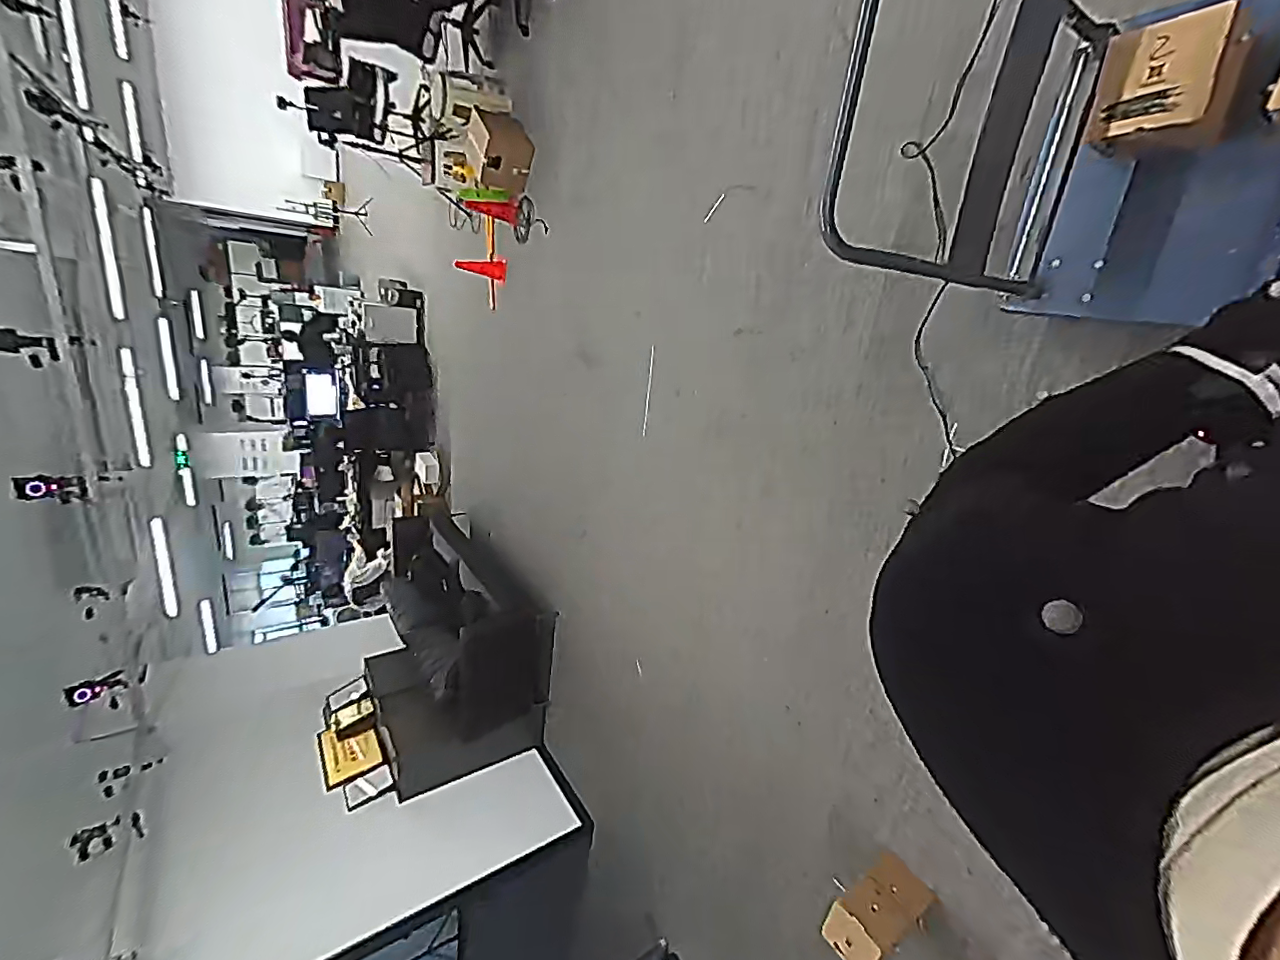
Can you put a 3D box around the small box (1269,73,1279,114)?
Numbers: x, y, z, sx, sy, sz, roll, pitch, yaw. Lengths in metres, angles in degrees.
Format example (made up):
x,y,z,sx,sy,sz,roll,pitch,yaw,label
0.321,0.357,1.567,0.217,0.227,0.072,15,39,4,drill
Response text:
x,y,z,sx,sy,sz,roll,pitch,yaw,label
1.111,-0.655,0.811,0.168,0.176,0.179,31,121,49,small box

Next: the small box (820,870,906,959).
x,y,z,sx,sy,sz,roll,pitch,yaw,label
0.715,1.402,1.725,0.168,0.176,0.179,36,122,47,small box

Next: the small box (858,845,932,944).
x,y,z,sx,sy,sz,roll,pitch,yaw,label
0.844,1.390,1.825,0.179,0.176,0.168,36,123,46,small box
